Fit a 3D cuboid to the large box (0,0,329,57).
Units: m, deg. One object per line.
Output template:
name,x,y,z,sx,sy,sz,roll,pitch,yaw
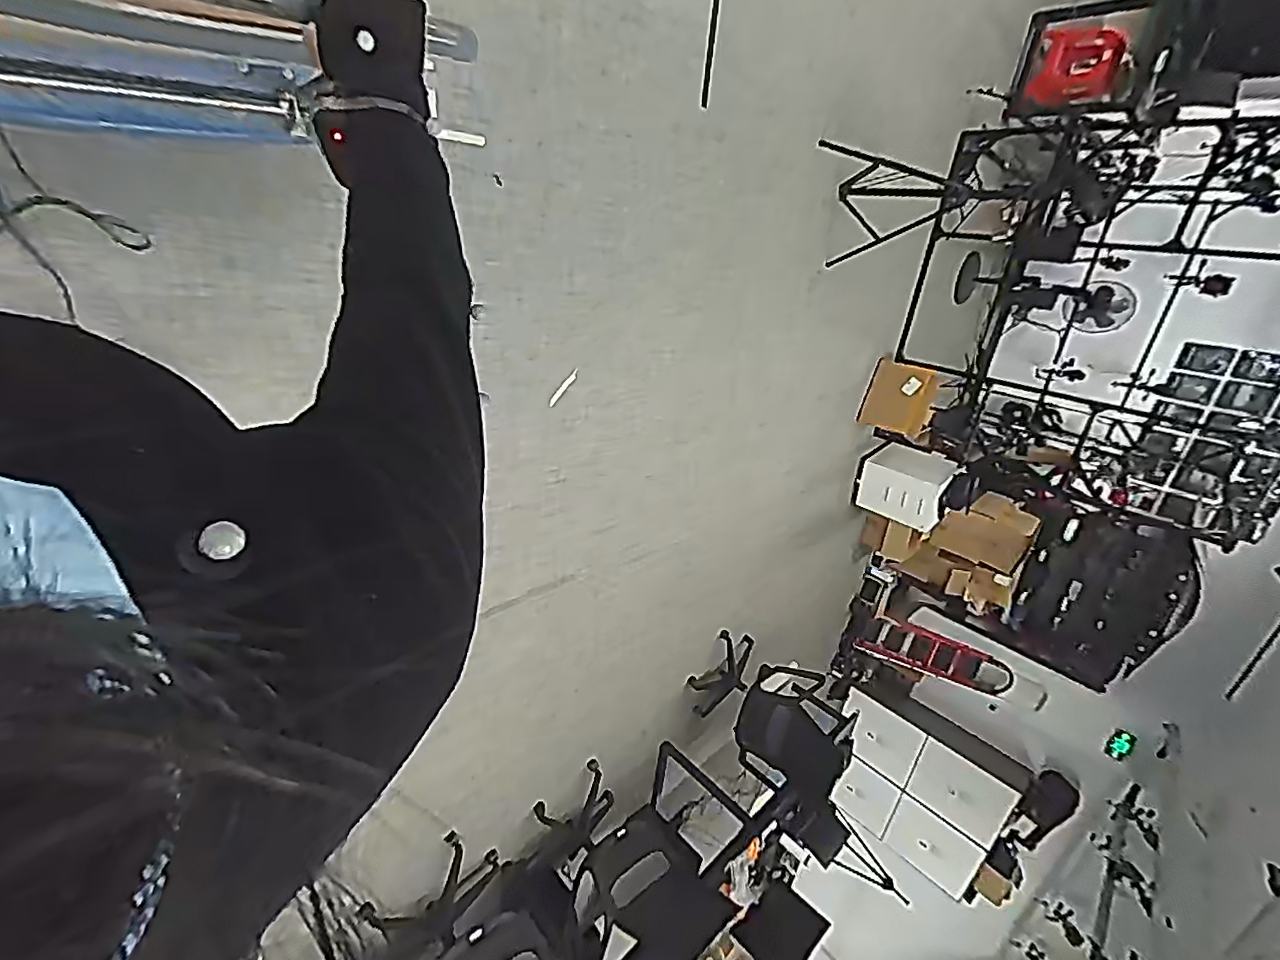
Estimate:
large box,-0.692,-0.759,0.672,0.408,0.320,0.320,-27,130,-39
